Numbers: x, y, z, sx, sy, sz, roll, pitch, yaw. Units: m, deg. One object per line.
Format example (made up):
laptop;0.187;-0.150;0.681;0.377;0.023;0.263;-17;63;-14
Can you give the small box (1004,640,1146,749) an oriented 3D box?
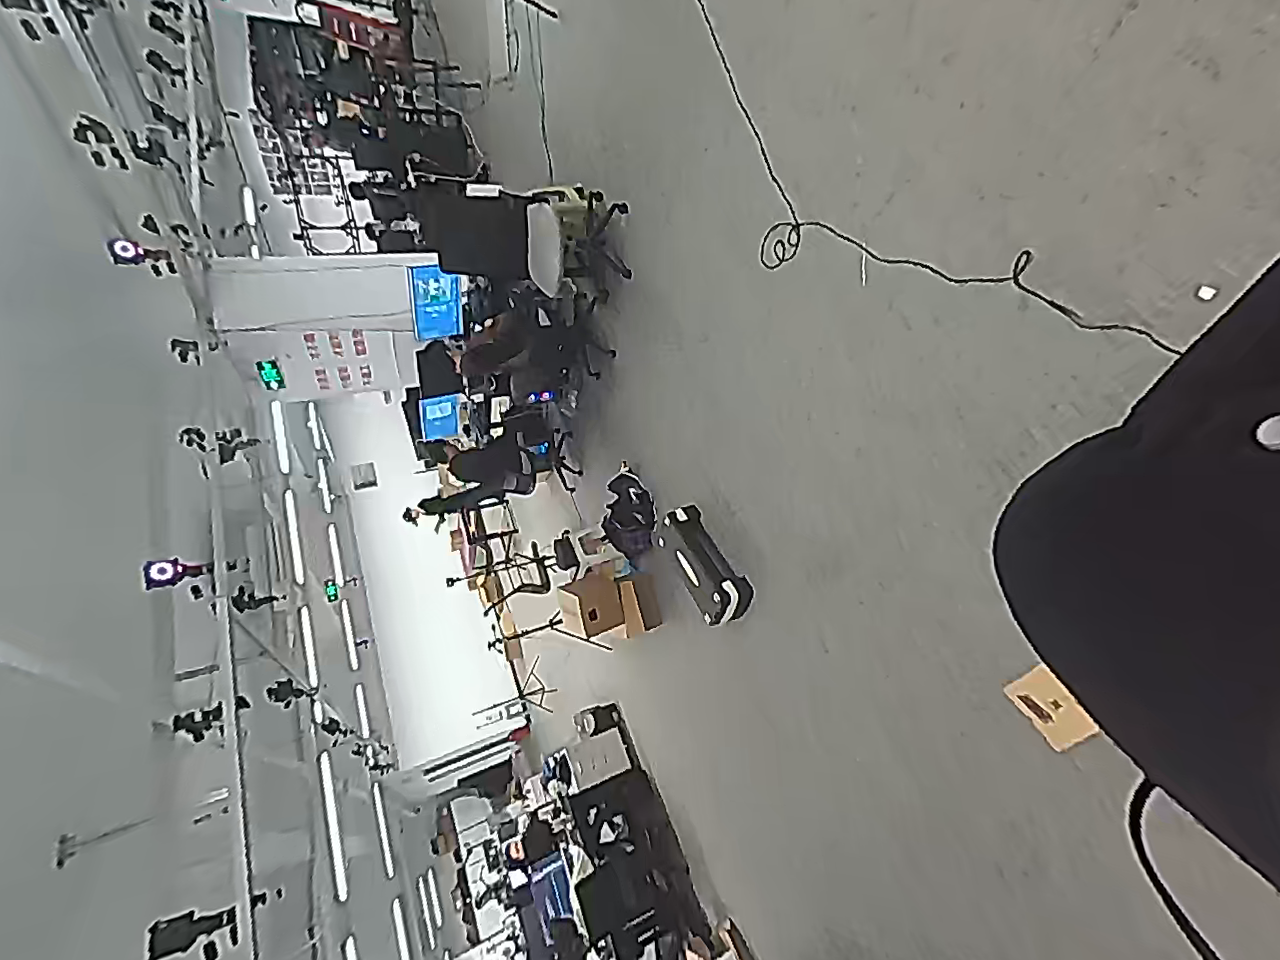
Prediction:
small box;1.052;0.517;1.311;0.168;0.176;0.179;59;149;36
